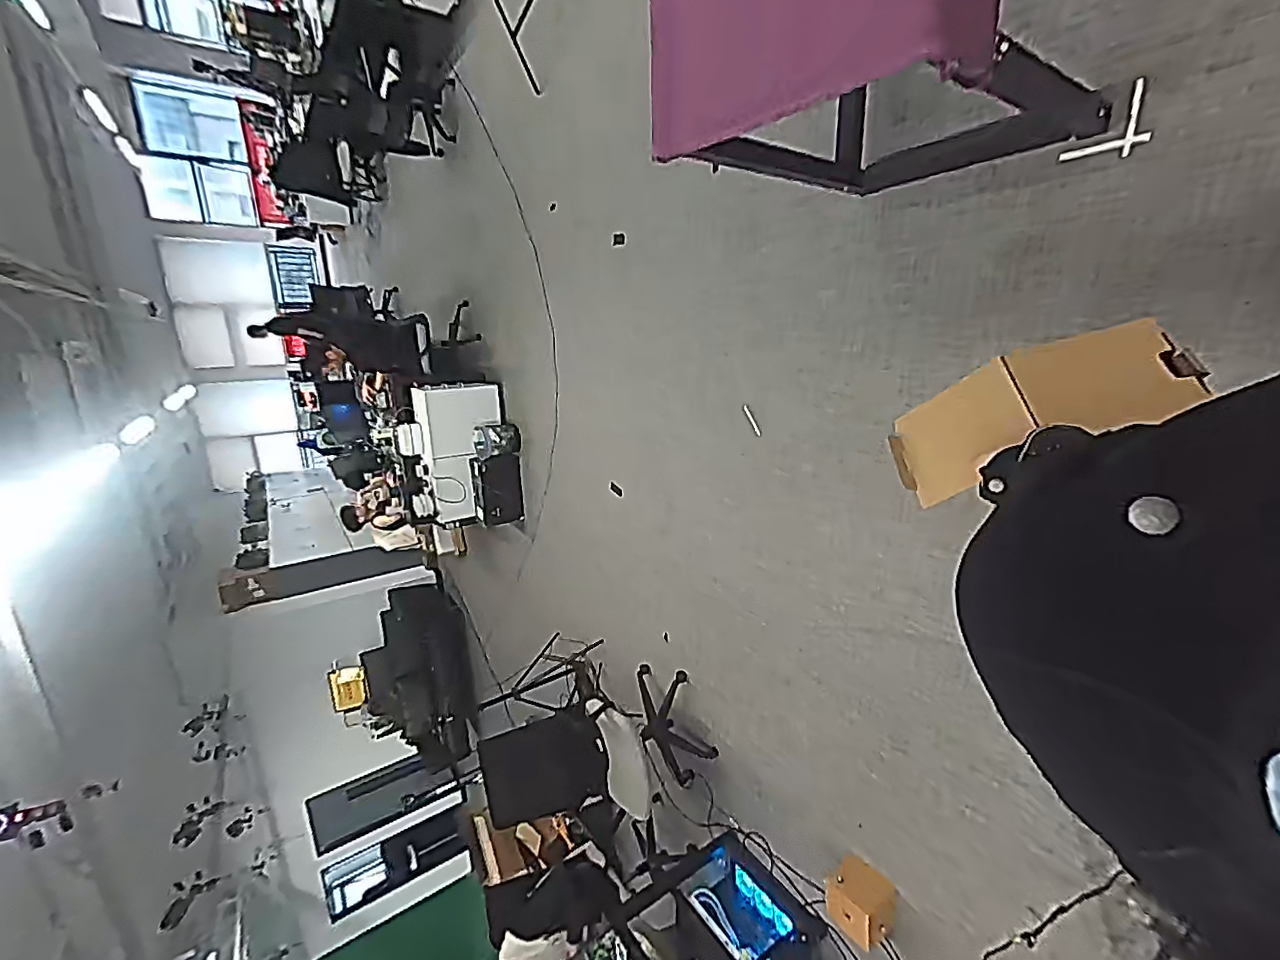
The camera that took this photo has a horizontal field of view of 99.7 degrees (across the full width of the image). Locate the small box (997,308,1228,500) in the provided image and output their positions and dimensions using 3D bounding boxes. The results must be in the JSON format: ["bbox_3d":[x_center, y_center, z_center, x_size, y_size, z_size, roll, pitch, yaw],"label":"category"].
[{"bbox_3d":[0.606,-0.090,0.729,0.179,0.176,0.168,-14,56,20],"label":"small box"}]
